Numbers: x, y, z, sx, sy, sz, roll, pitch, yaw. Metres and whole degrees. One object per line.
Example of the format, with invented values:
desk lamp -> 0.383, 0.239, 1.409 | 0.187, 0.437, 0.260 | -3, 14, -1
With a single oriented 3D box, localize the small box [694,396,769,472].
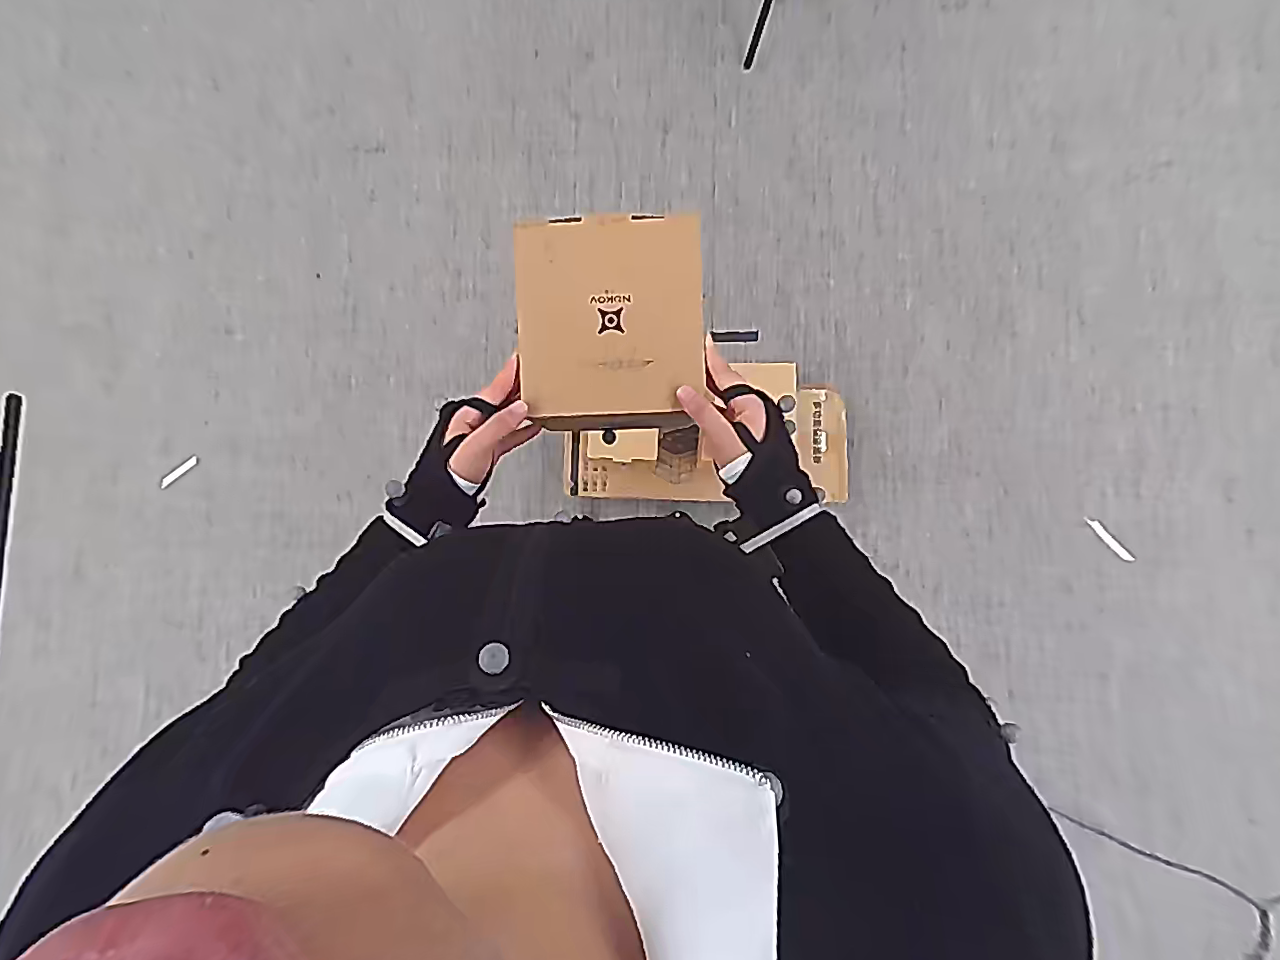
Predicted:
small box -> 0.226, -0.120, 1.335 | 0.168, 0.176, 0.179 | 5, 87, 2

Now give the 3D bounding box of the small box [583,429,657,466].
small box -> -0.043, -0.129, 1.340 | 0.168, 0.176, 0.179 | 3, 87, 2

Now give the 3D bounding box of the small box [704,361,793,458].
small box -> 0.227, -0.147, 1.171 | 0.168, 0.176, 0.179 | 1, 86, 2

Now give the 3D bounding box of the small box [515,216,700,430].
small box -> -0.031, -0.147, 0.559 | 0.168, 0.176, 0.179 | -1, 91, -1
